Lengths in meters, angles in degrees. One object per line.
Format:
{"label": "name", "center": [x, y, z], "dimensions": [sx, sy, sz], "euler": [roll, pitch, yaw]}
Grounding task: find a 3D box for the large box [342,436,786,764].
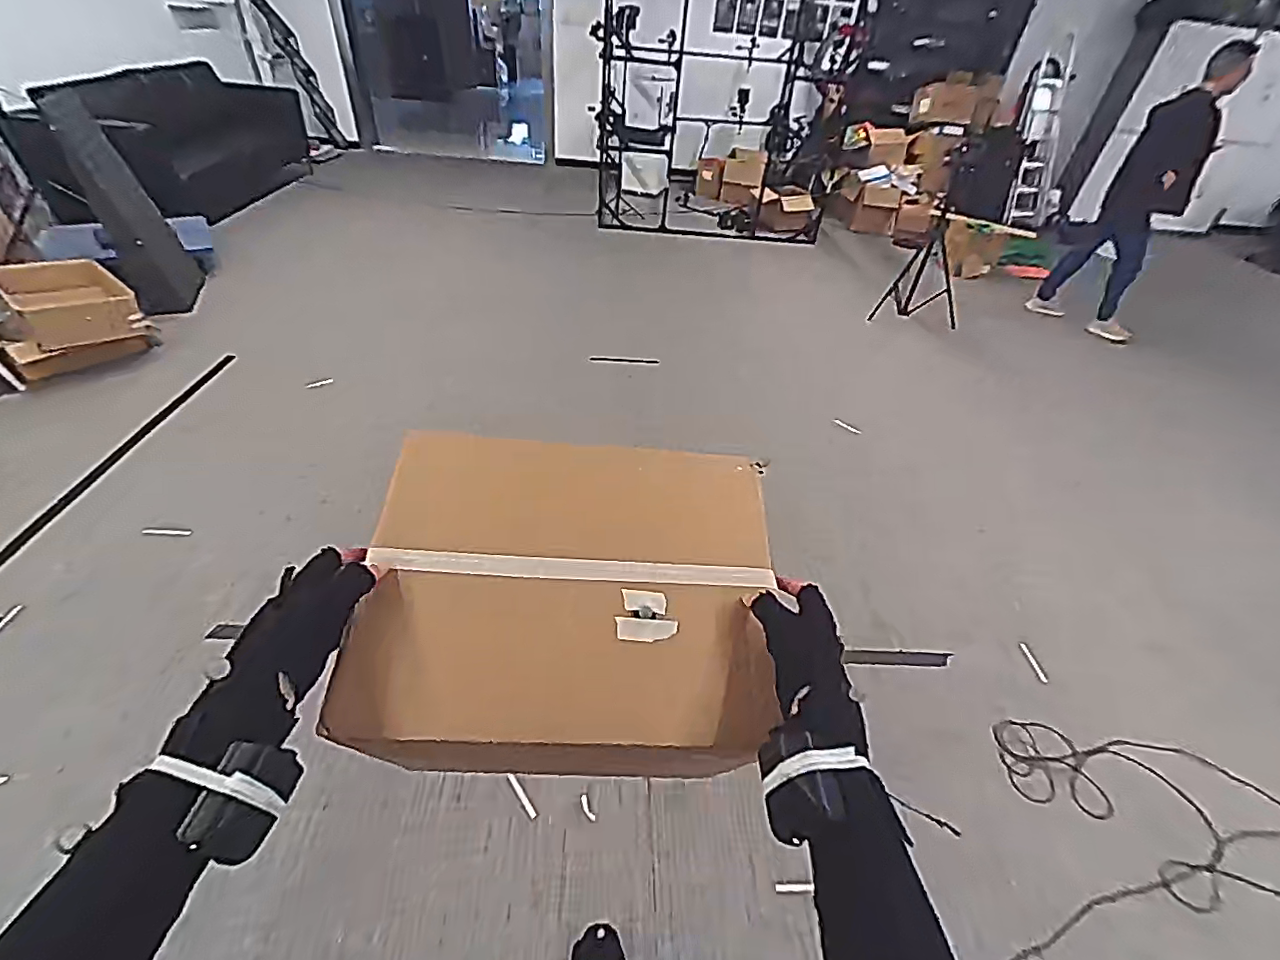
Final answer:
{"label": "large box", "center": [-0.081, 0.169, 0.682], "dimensions": [0.408, 0.320, 0.320], "euler": [4, 58, -6]}
